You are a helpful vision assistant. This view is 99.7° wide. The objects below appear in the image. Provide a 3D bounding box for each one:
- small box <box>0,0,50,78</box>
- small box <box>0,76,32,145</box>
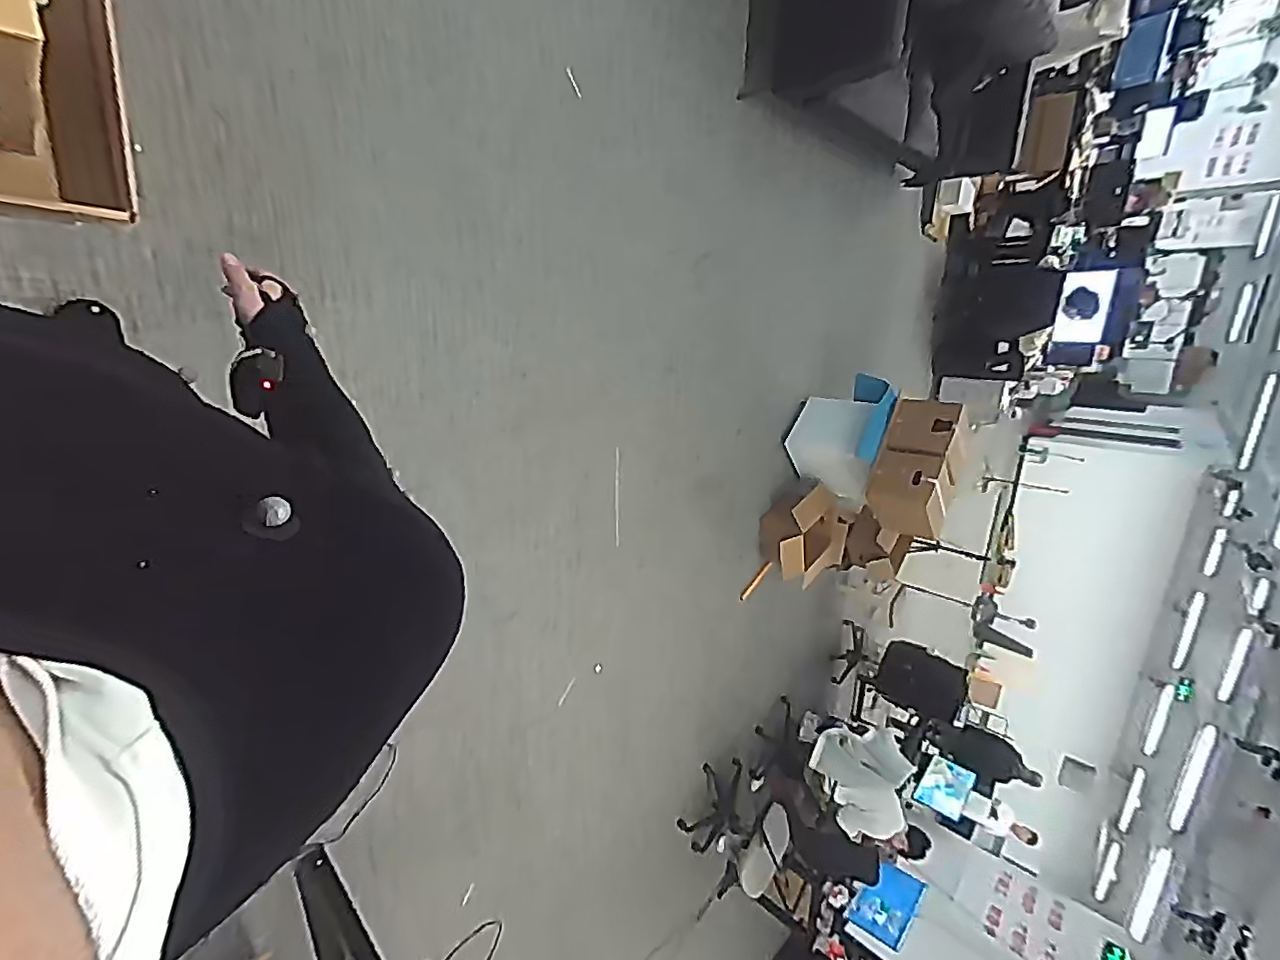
[{"bbox_3d":[-0.629,-0.458,0.436,0.179,0.176,0.168,-17,114,-45],"label":"small box"},{"bbox_3d":[-0.873,-0.522,0.643,0.179,0.176,0.168,-14,111,-46],"label":"small box"}]
